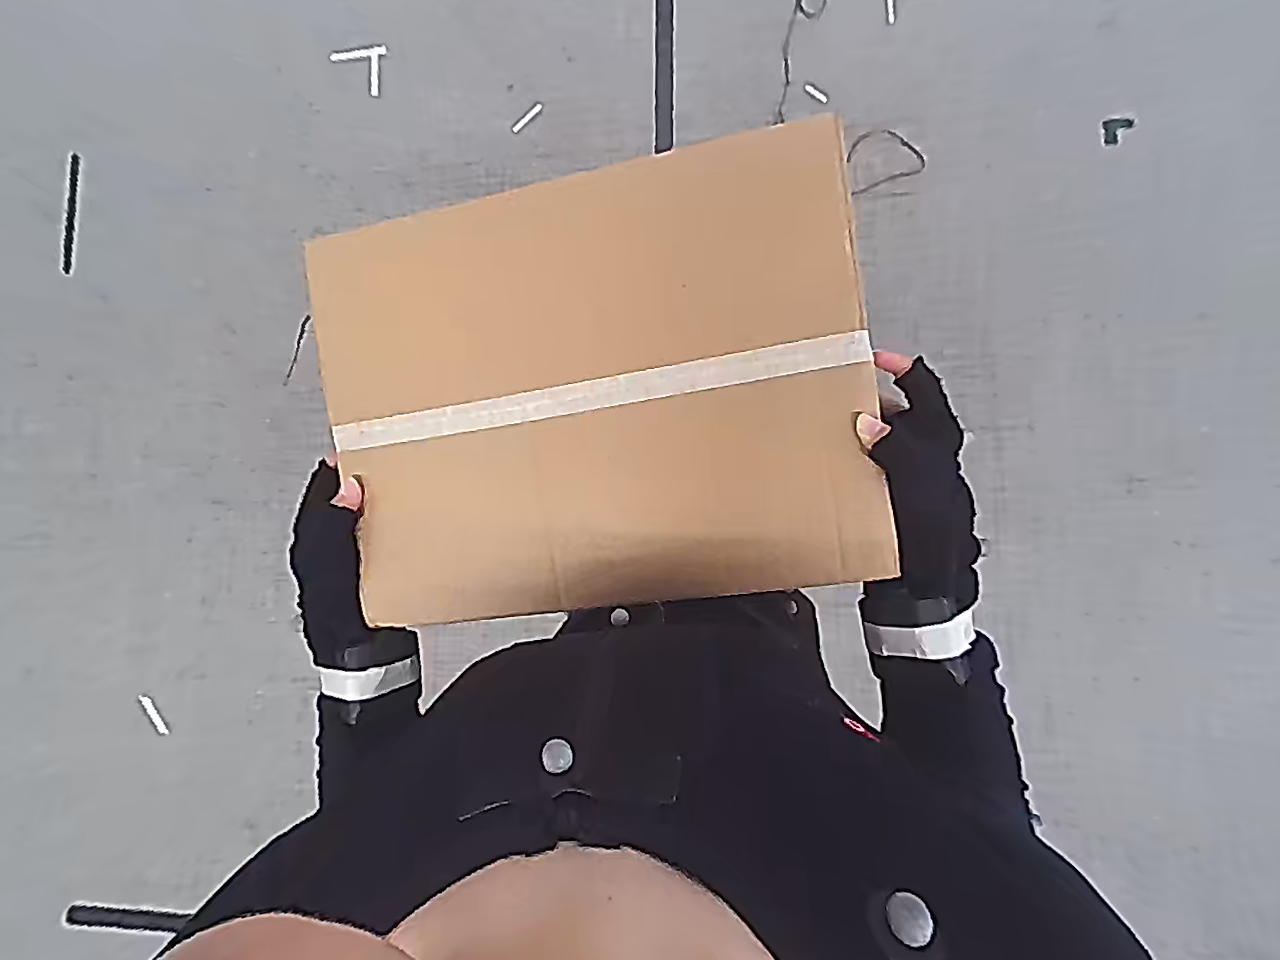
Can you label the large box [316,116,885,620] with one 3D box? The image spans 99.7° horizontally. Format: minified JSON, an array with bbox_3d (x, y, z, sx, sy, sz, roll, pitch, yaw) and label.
[{"bbox_3d":[-0.019,-0.075,0.550,0.408,0.320,0.320,-9,91,11],"label":"large box"}]
